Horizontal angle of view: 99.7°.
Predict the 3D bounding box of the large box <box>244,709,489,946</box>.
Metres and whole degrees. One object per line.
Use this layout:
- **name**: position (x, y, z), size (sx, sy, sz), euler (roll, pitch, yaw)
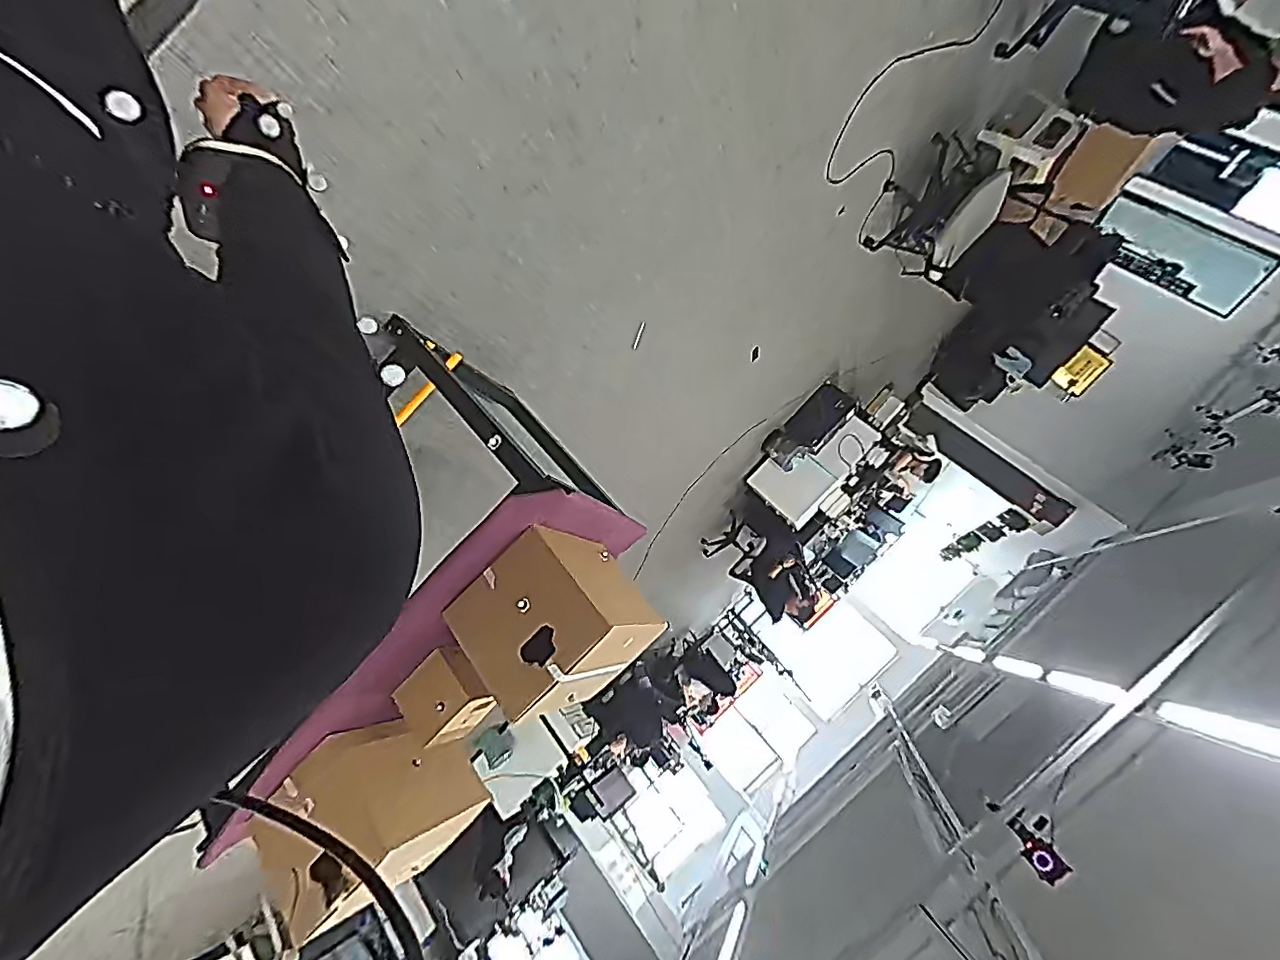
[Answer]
- **large box**: position (-0.689, 0.849, 1.400), size (0.320, 0.320, 0.408), euler (-46, 158, 4)
